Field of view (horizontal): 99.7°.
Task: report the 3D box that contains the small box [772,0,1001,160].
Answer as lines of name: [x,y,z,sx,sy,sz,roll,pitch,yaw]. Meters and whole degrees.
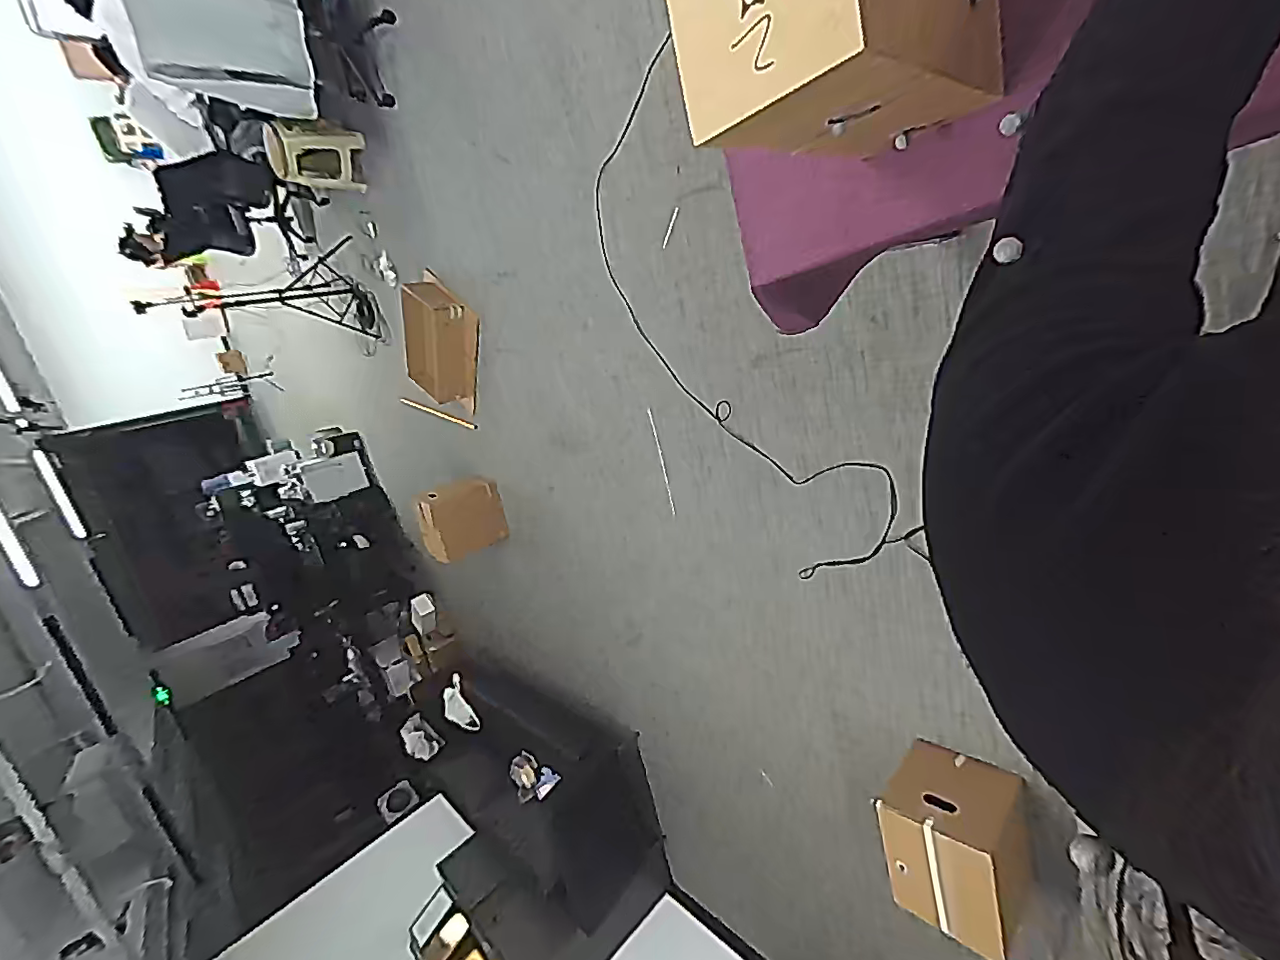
small box: [0.265,-0.466,0.576,0.168,0.176,0.179,3,112,48]
